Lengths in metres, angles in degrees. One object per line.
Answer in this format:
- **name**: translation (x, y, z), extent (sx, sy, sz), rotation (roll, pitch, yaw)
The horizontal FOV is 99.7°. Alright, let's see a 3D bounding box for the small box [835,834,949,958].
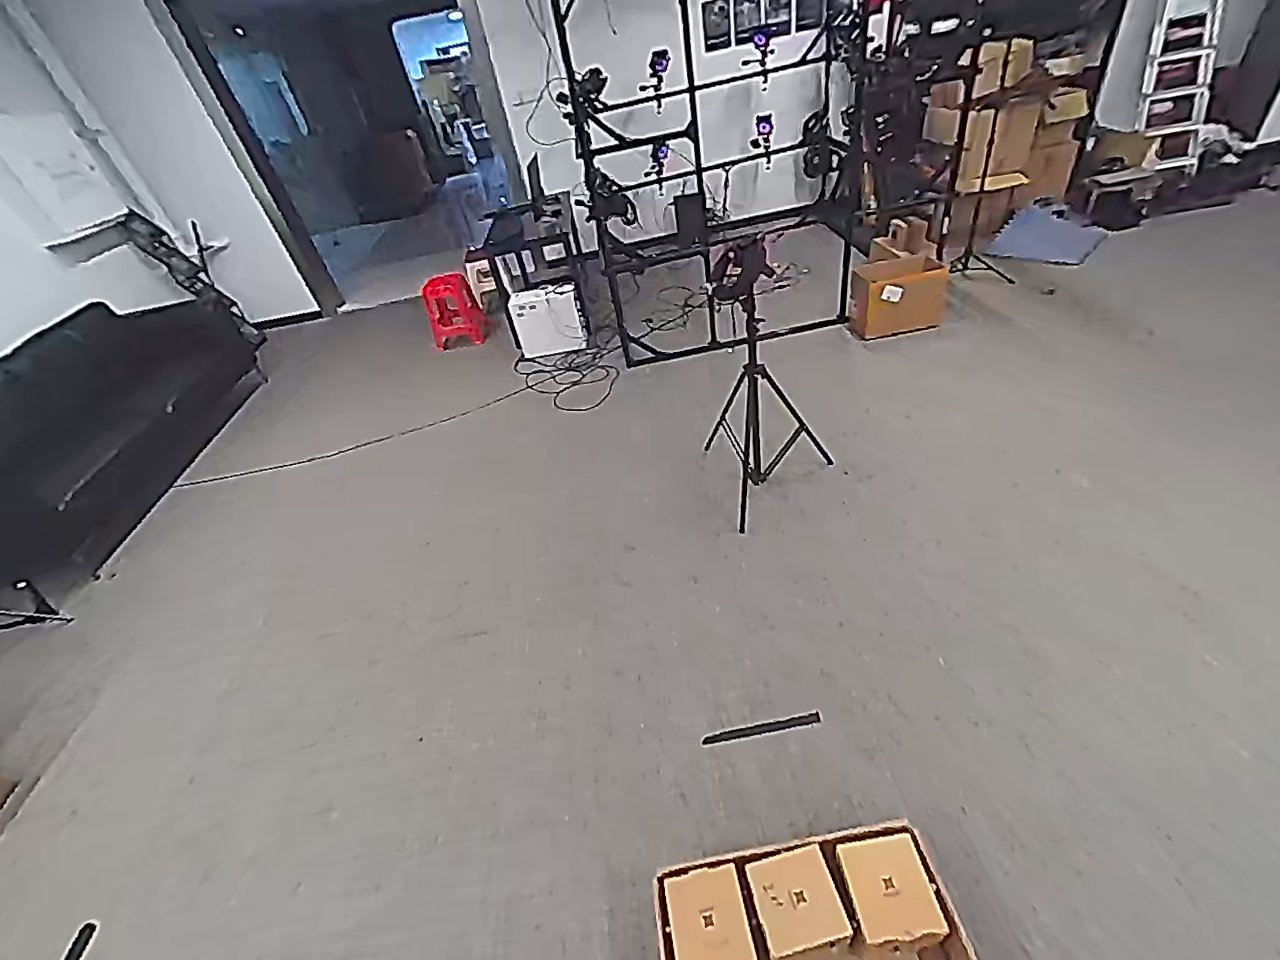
- **small box**: translation (0.539, 0.915, 1.188), extent (0.168, 0.176, 0.179), rotation (-12, 42, 3)
